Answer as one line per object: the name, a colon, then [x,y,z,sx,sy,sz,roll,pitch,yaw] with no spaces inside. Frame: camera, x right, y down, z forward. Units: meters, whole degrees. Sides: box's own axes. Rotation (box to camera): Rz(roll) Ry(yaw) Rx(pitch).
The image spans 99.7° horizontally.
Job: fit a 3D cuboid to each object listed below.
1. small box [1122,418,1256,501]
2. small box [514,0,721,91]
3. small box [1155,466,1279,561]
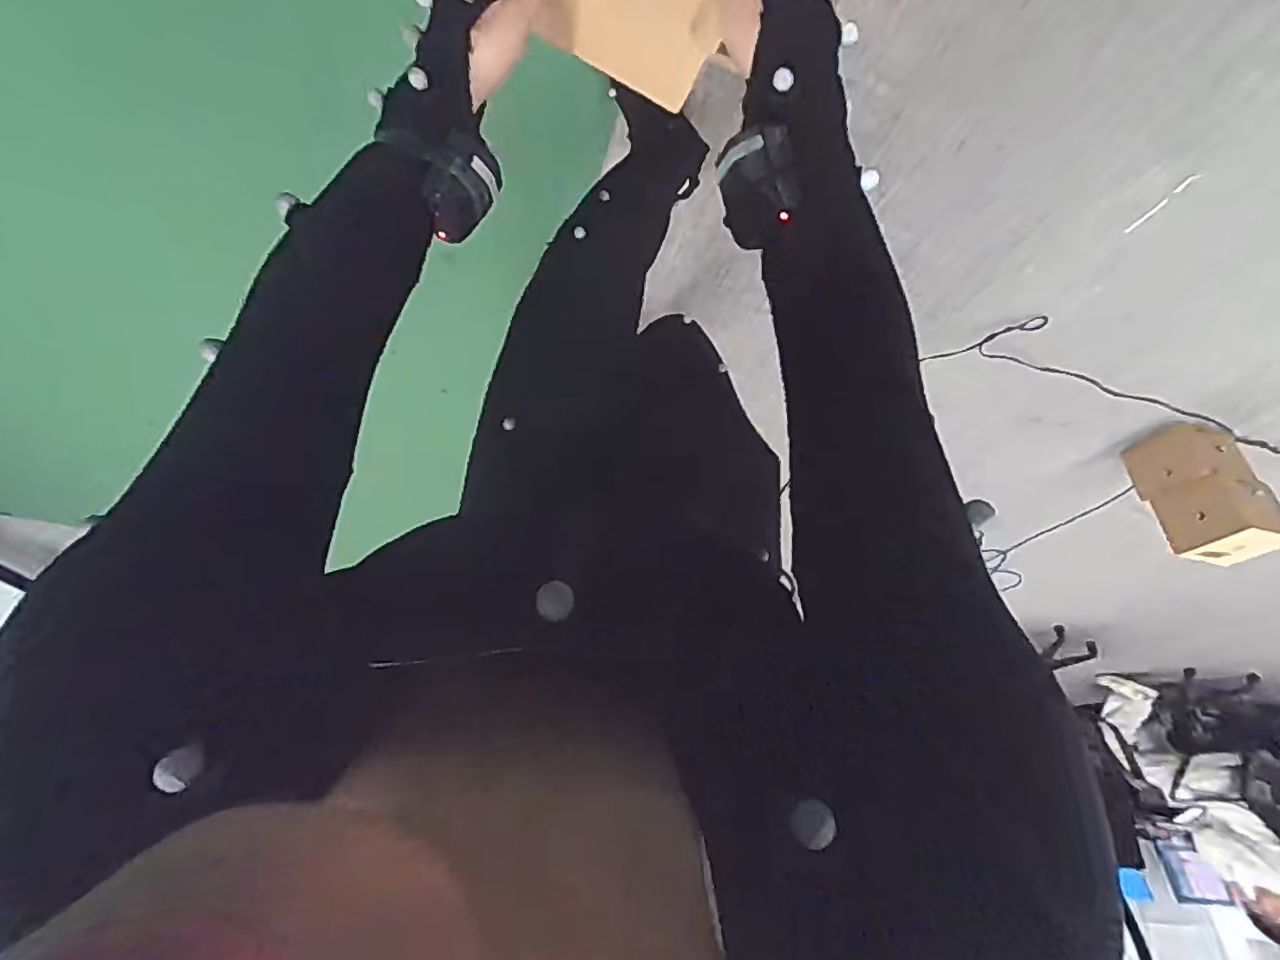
small box: [1.504,-0.050,1.497,0.168,0.176,0.179,10,148,-6]
small box: [-0.007,-0.480,0.436,0.179,0.176,0.168,14,153,-24]
small box: [1.509,0.089,1.410,0.168,0.176,0.179,11,147,-9]
